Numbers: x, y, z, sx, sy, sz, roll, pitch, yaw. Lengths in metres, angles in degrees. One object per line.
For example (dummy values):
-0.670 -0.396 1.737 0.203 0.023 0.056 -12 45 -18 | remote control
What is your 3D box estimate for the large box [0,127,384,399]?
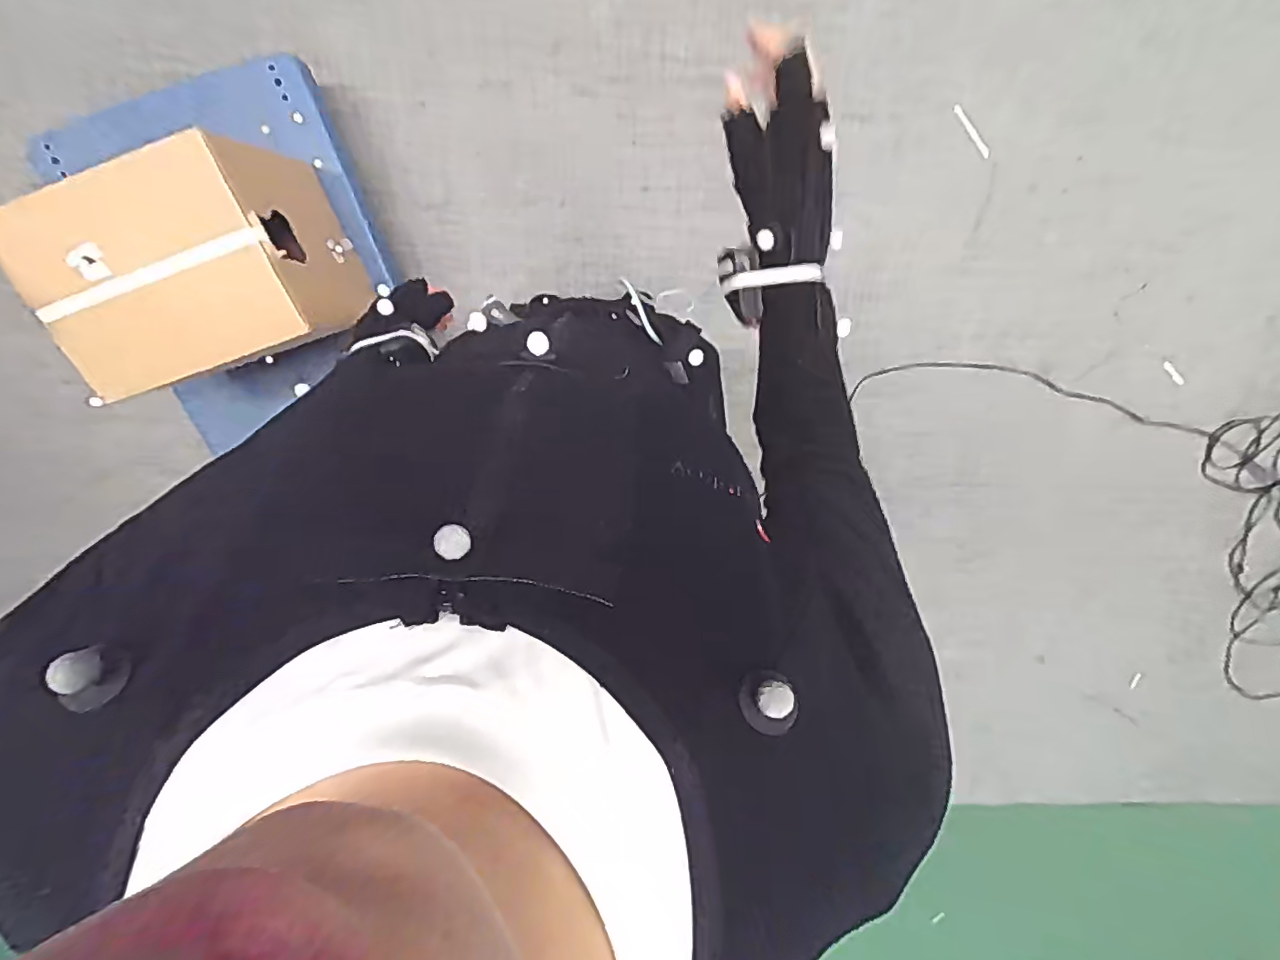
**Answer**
-0.786 -0.390 1.013 0.408 0.320 0.320 -17 111 6 | large box
